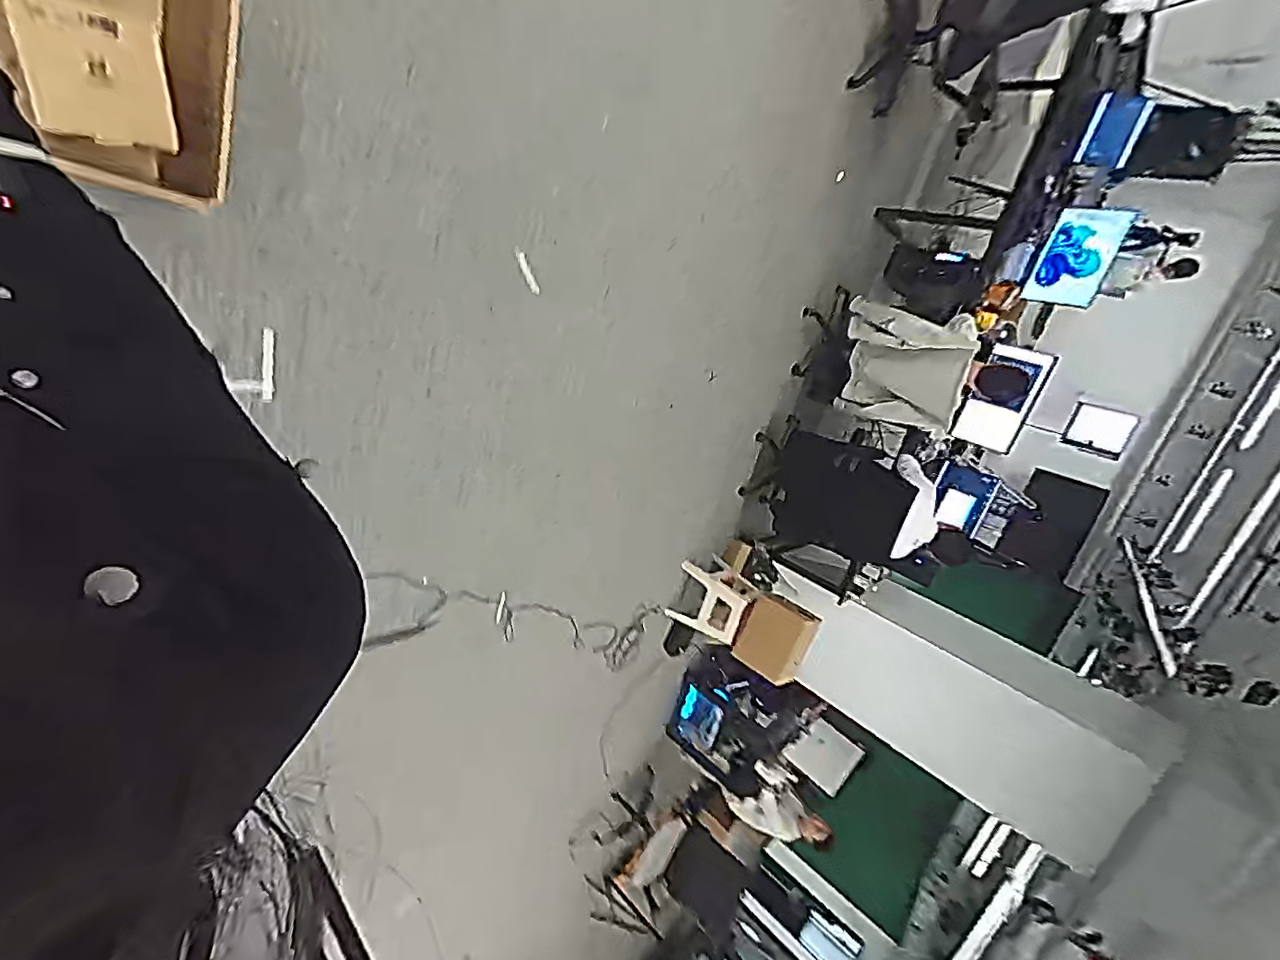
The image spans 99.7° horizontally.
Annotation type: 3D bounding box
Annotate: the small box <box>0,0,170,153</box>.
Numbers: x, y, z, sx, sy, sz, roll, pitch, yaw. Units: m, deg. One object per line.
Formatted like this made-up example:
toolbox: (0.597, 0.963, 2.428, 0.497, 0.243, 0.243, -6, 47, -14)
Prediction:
small box: (-0.880, -0.637, 0.856, 0.168, 0.176, 0.179, -18, 126, -45)
